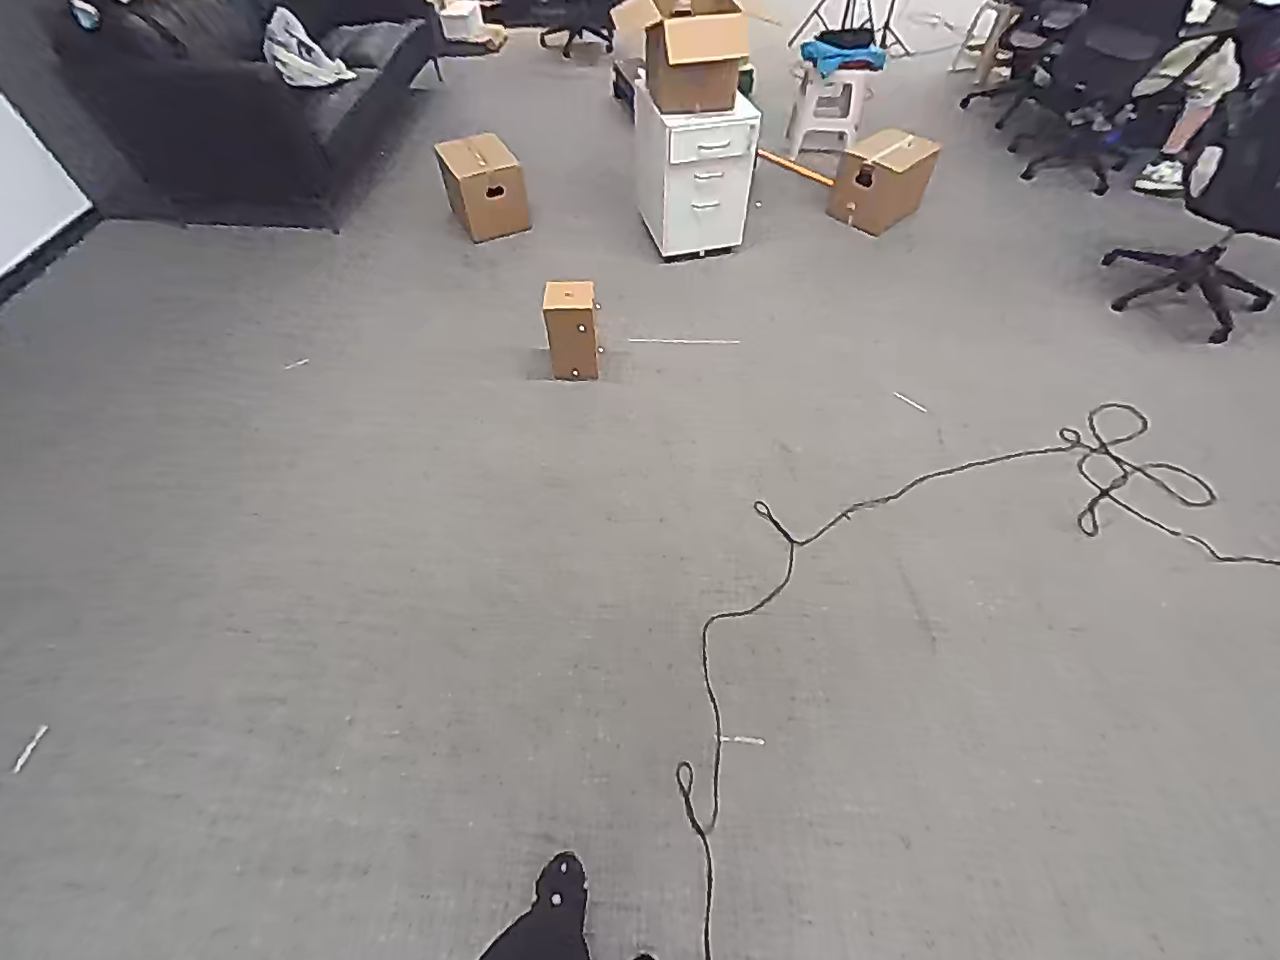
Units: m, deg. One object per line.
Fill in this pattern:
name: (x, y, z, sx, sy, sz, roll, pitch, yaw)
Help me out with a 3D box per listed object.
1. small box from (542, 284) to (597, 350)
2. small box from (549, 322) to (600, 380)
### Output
small box: (-0.252, -0.592, 1.973, 0.179, 0.176, 0.168, -3, 52, 1)
small box: (-0.250, -0.503, 2.110, 0.179, 0.176, 0.168, 1, 53, 1)
